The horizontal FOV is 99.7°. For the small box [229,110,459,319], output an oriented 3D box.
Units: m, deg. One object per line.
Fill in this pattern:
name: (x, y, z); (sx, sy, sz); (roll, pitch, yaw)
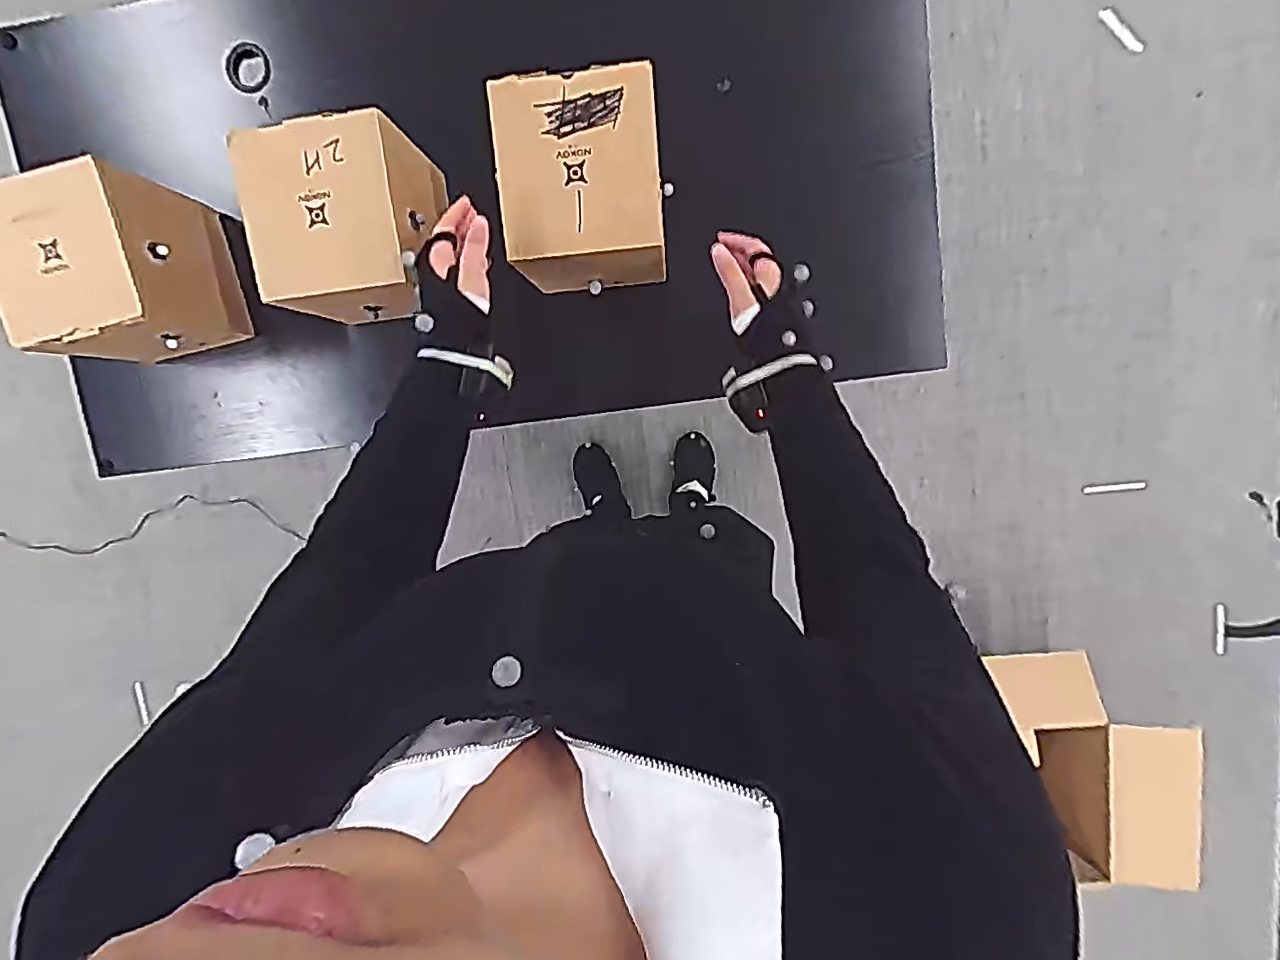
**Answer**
small box: (-0.332, -0.295, 0.644); (0.168, 0.176, 0.179); (-6, 98, 3)

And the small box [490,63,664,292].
small box: (-0.060, -0.329, 0.623); (0.168, 0.176, 0.179); (-4, 98, 4)

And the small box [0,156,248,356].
small box: (-0.636, -0.256, 0.669); (0.168, 0.176, 0.179); (-12, 96, 4)
